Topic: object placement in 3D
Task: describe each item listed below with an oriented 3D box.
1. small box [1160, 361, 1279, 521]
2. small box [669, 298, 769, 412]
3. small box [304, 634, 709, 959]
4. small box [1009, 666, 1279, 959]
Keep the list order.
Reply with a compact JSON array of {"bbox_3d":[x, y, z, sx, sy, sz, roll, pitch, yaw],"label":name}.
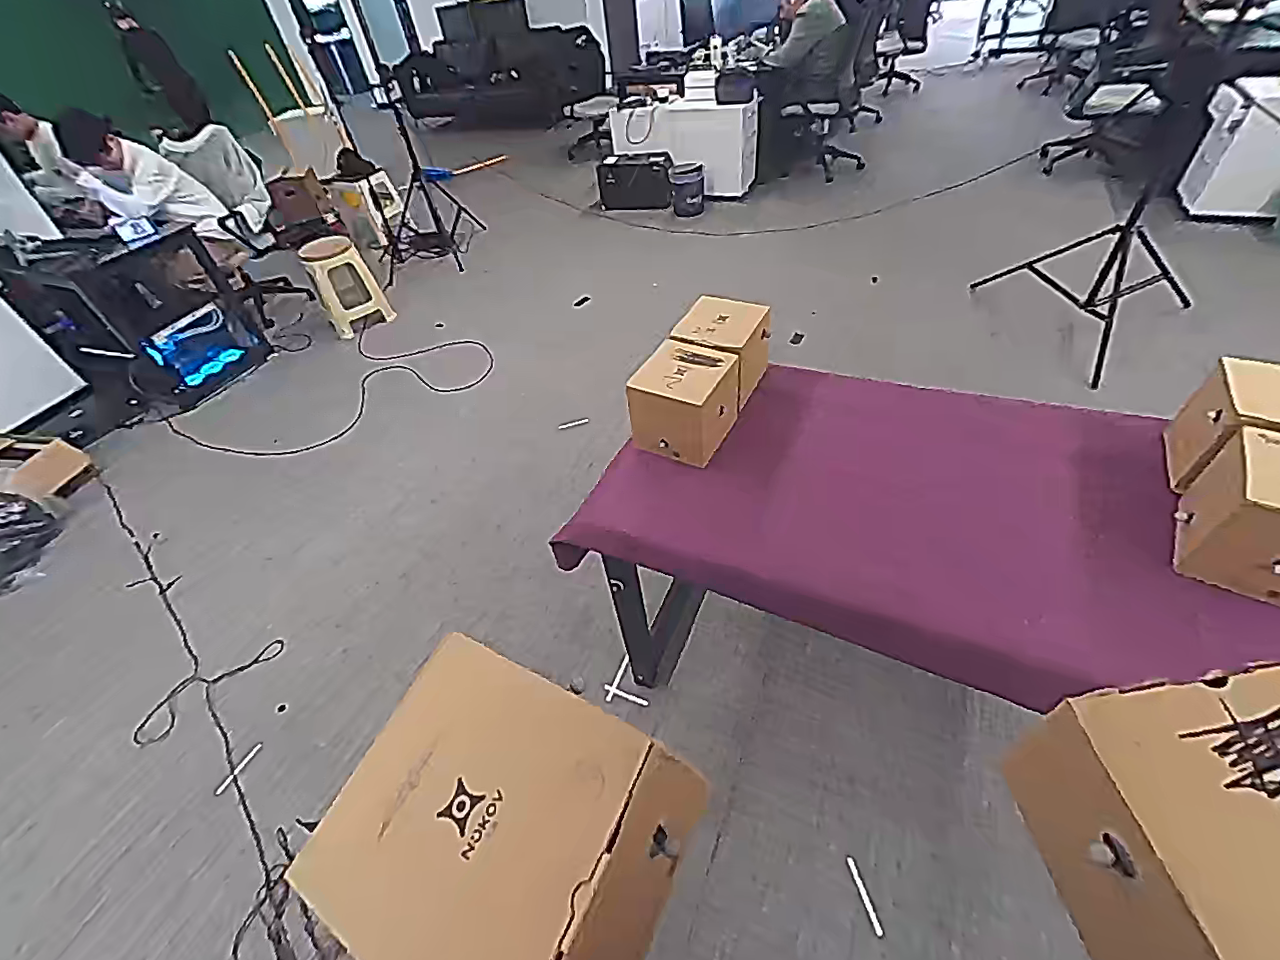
[{"bbox_3d":[1.006,-0.065,0.890,0.168,0.176,0.179,18,50,23],"label":"small box"},{"bbox_3d":[0.179,-0.284,1.223,0.168,0.176,0.179,18,52,24],"label":"small box"},{"bbox_3d":[-0.069,0.238,0.375,0.179,0.176,0.168,14,60,30],"label":"small box"},{"bbox_3d":[0.367,0.233,0.327,0.168,0.176,0.179,-13,50,7],"label":"small box"}]
